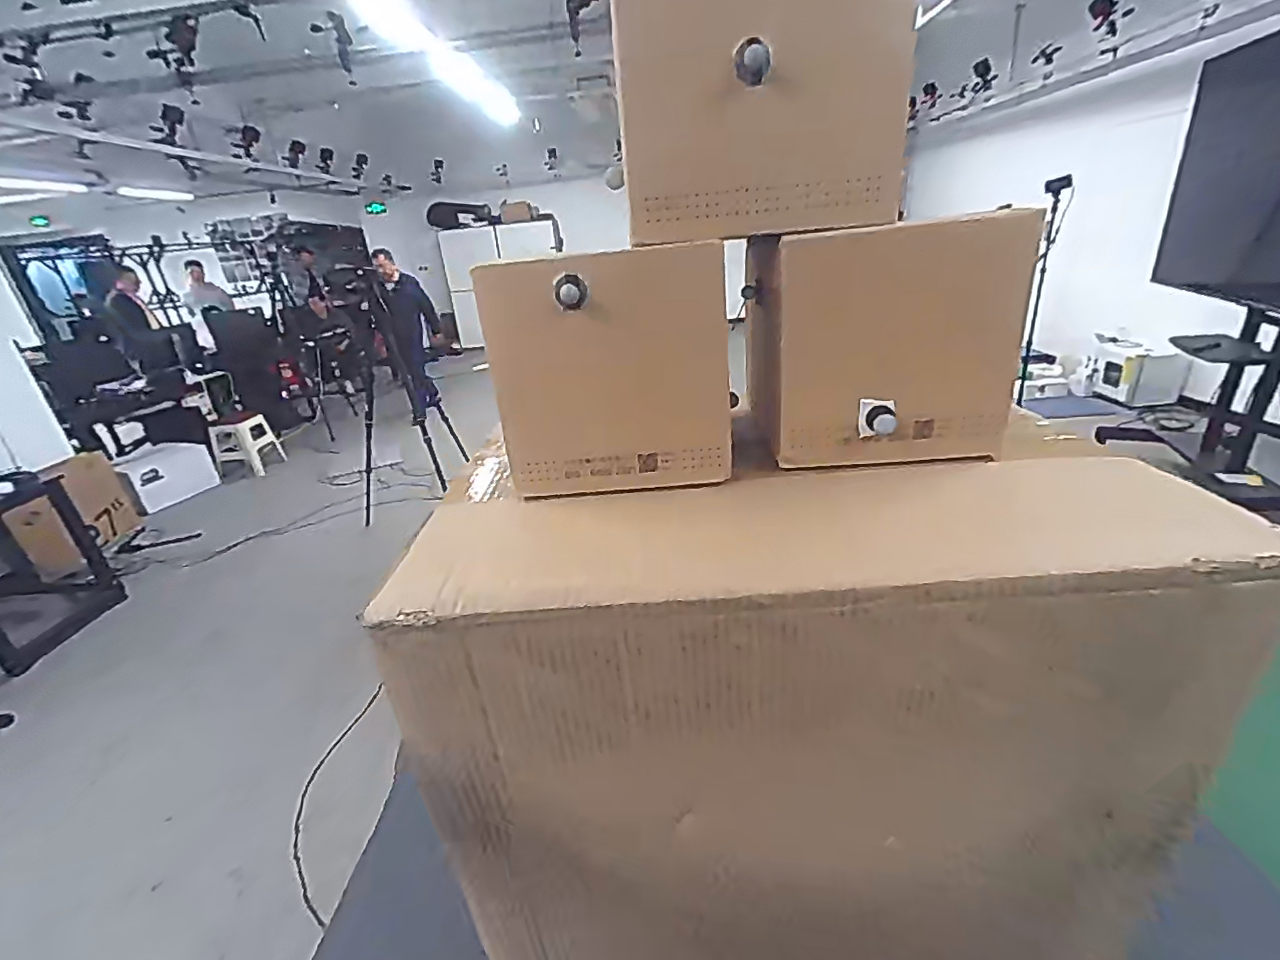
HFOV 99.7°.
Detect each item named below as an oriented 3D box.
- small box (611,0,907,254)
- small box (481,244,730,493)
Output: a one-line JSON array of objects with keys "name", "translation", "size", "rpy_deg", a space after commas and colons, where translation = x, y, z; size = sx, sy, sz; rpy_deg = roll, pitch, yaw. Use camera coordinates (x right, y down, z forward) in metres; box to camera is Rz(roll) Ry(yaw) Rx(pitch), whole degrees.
[{"name": "small box", "translation": [0.076, -0.262, 0.407], "size": [0.179, 0.176, 0.168], "rpy_deg": [-5, 22, 2]}, {"name": "small box", "translation": [-0.016, -0.099, 0.461], "size": [0.168, 0.176, 0.179], "rpy_deg": [-5, 22, 4]}]
